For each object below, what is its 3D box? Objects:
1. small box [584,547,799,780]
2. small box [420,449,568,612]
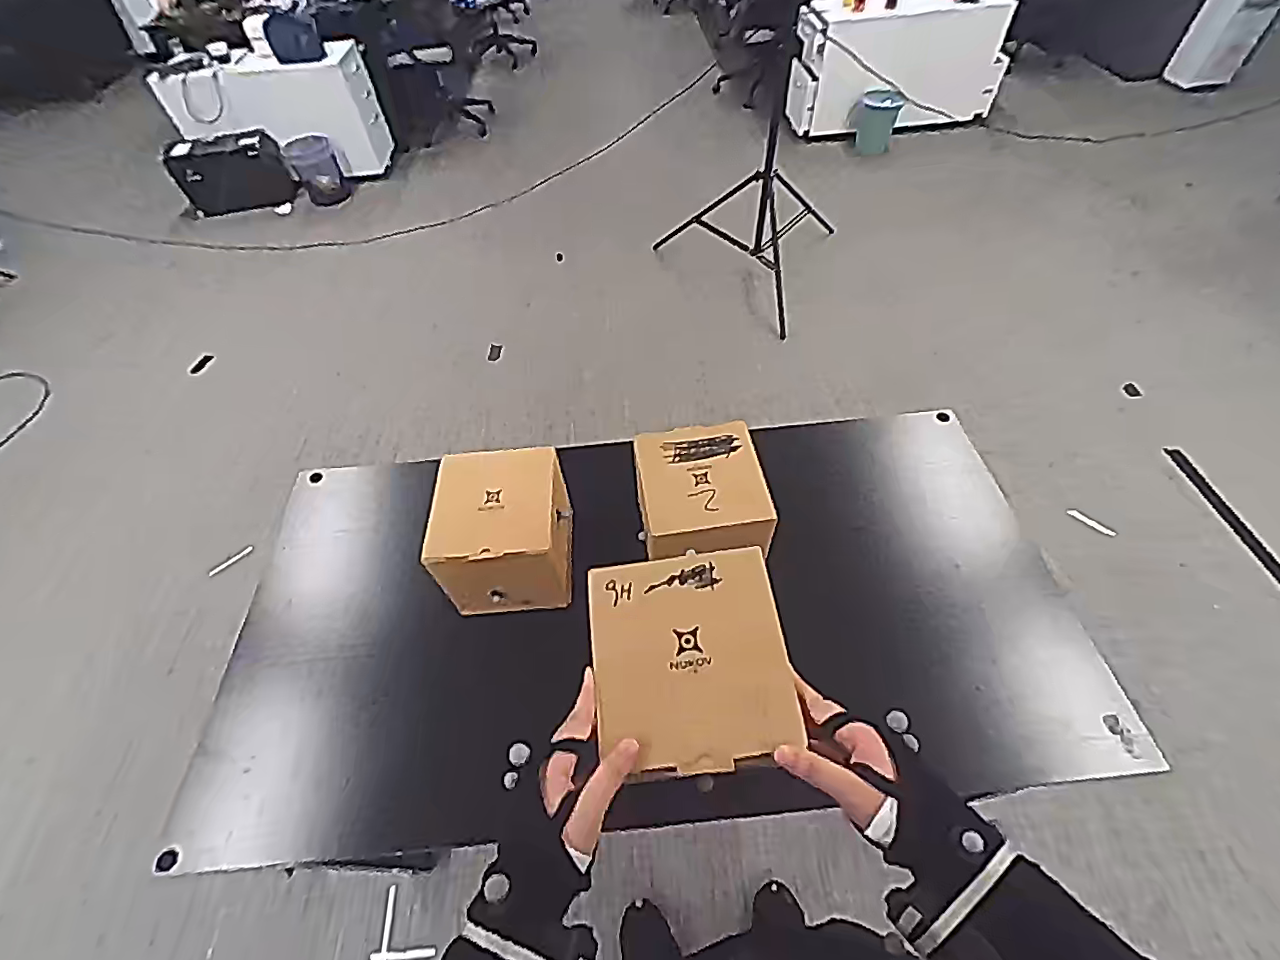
[{"bbox_3d":[0.045,0.187,0.534,0.168,0.176,0.179,-9,60,1],"label":"small box"},{"bbox_3d":[-0.201,0.077,0.800,0.168,0.176,0.179,-5,53,0],"label":"small box"}]
